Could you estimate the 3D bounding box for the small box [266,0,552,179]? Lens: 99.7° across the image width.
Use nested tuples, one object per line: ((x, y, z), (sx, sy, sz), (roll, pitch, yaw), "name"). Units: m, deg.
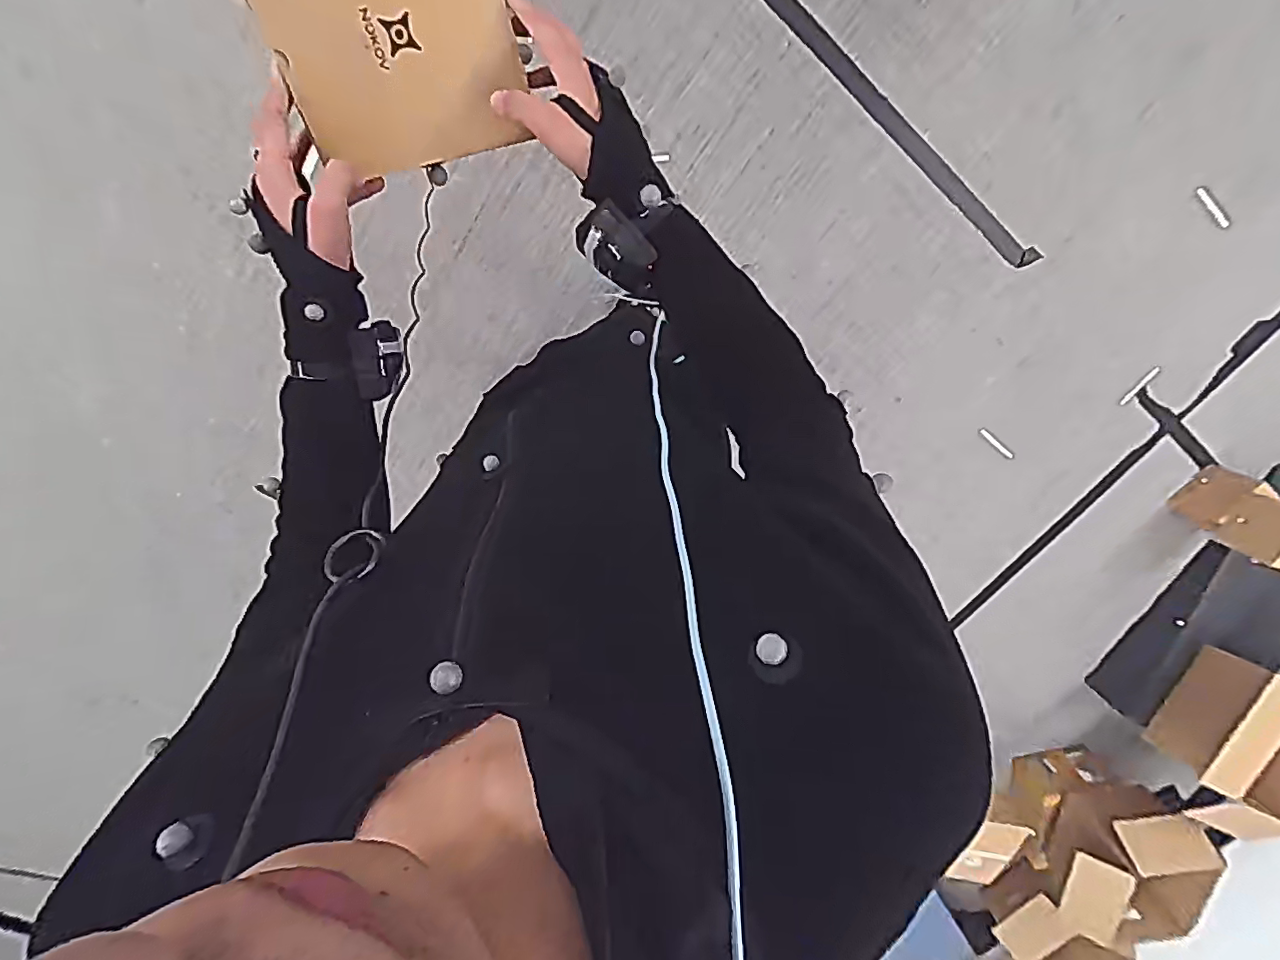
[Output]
((-0.187, -0.373, 0.461), (0.179, 0.176, 0.168), (-16, 125, -4), "small box")
